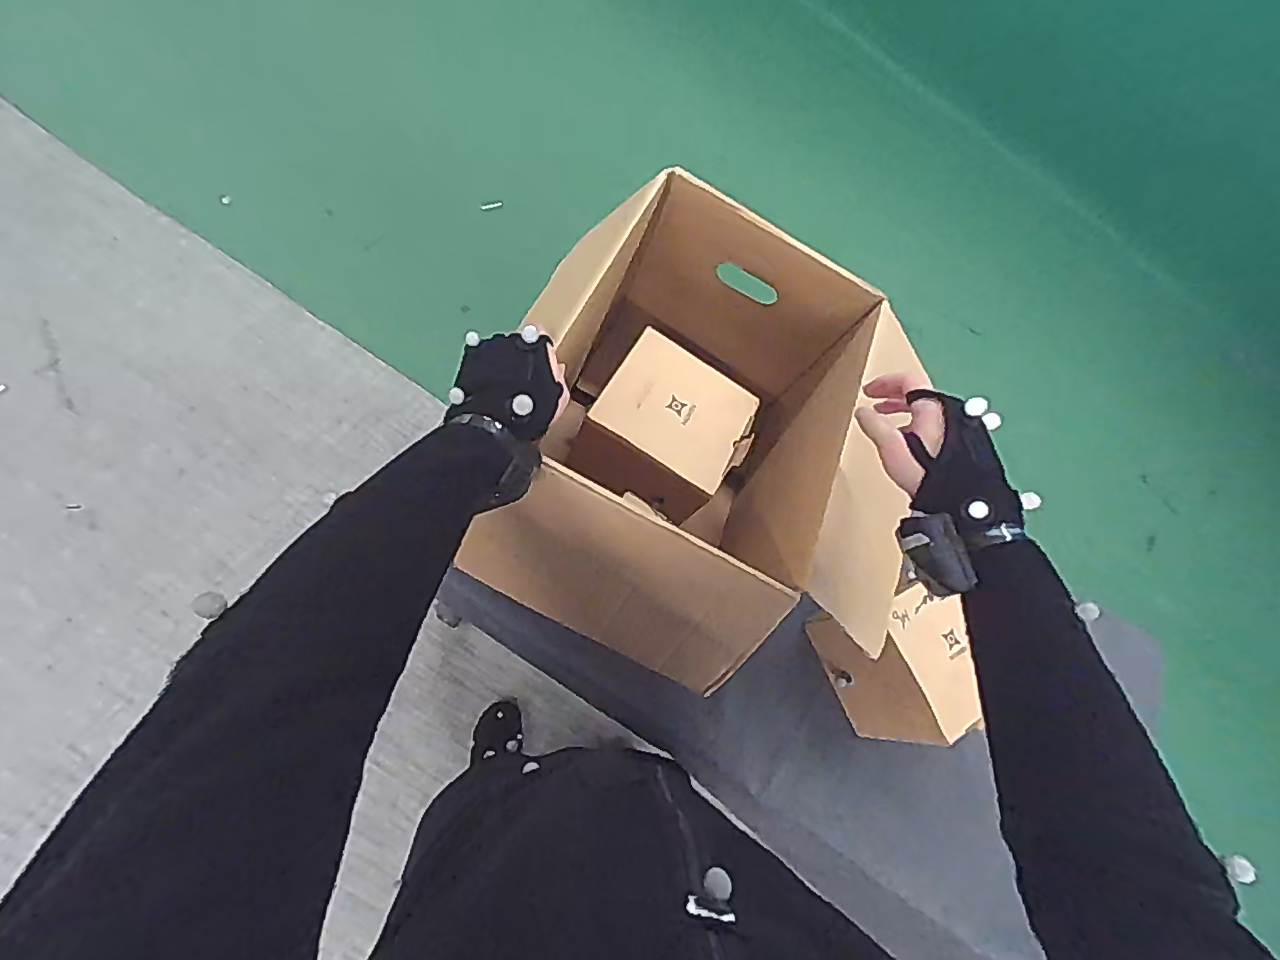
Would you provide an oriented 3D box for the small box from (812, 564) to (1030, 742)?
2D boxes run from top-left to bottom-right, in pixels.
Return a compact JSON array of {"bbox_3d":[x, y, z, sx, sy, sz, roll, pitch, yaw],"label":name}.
[{"bbox_3d":[0.381,0.238,0.761,0.168,0.176,0.179,-18,77,-21],"label":"small box"}]
